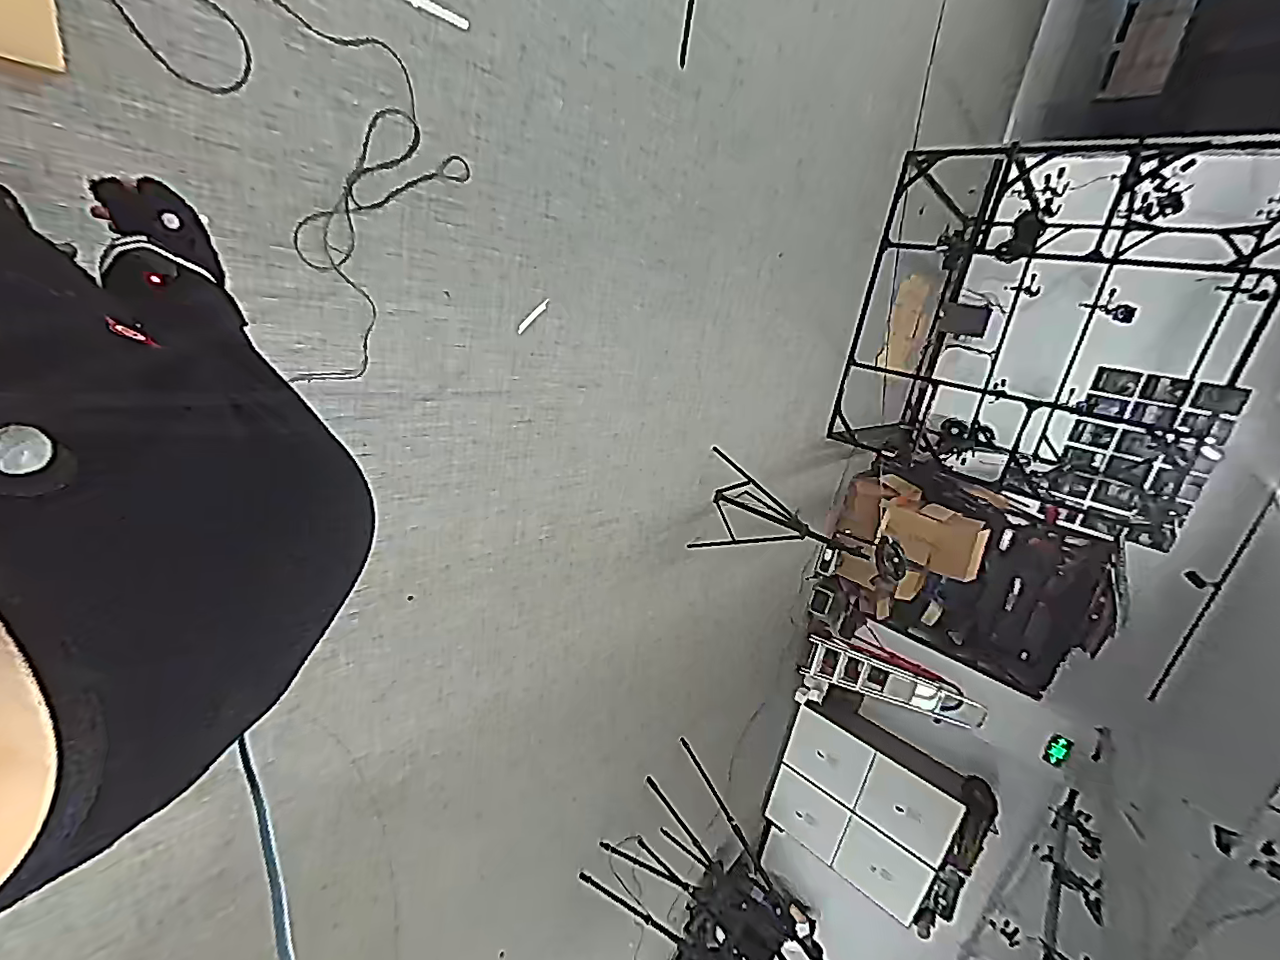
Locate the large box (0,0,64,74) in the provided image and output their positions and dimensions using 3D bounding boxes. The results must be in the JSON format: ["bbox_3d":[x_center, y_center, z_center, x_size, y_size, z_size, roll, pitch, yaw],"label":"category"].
[{"bbox_3d":[-1.002,-0.724,0.619,0.408,0.320,0.320,-16,124,-48],"label":"large box"}]
